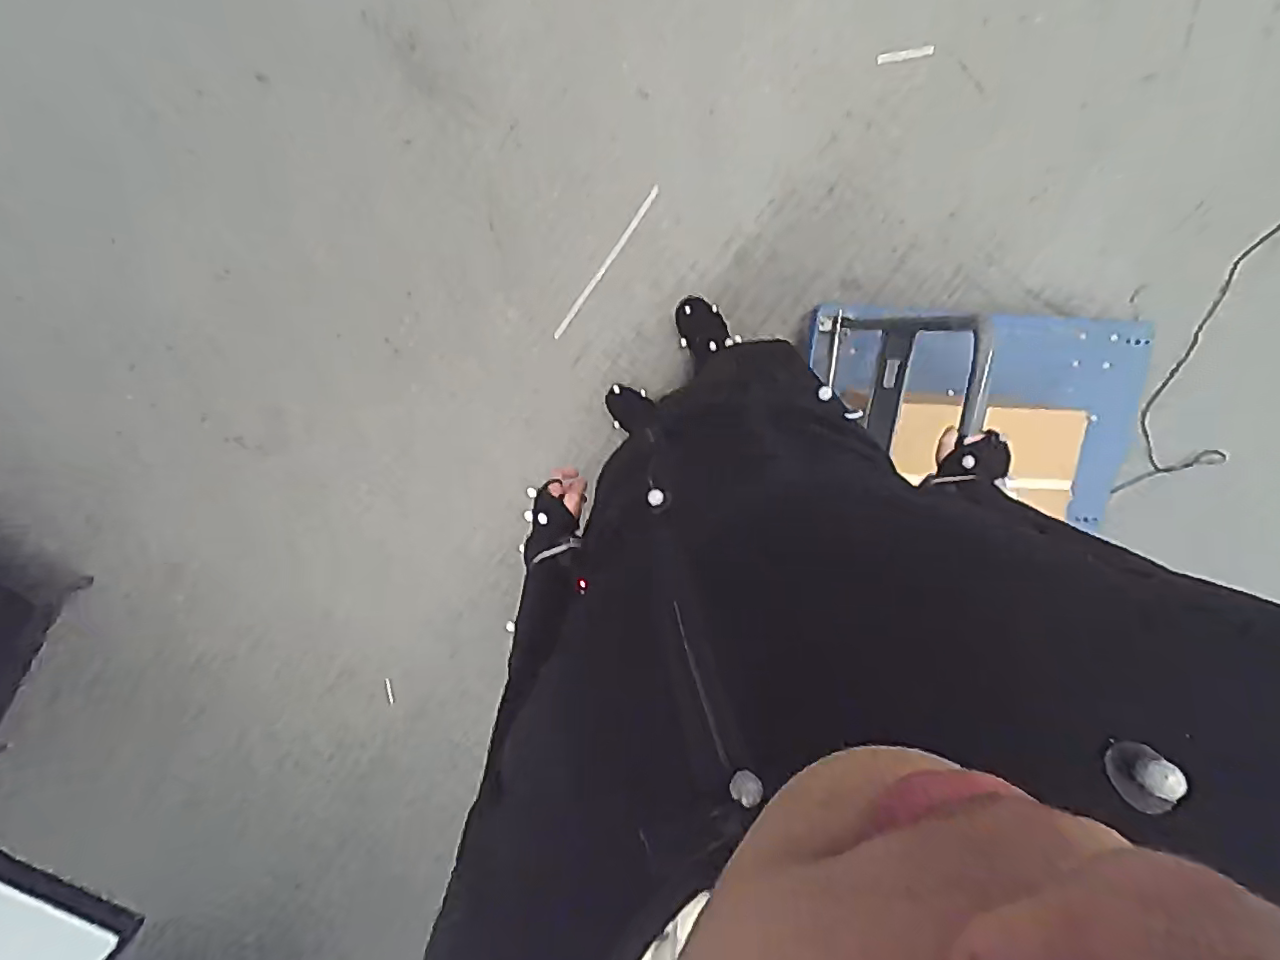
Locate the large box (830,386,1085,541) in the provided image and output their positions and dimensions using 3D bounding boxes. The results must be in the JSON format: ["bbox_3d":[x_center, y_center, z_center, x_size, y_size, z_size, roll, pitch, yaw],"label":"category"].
[{"bbox_3d":[0.718,-0.056,1.299,0.408,0.320,0.320,2,106,-2],"label":"large box"}]
